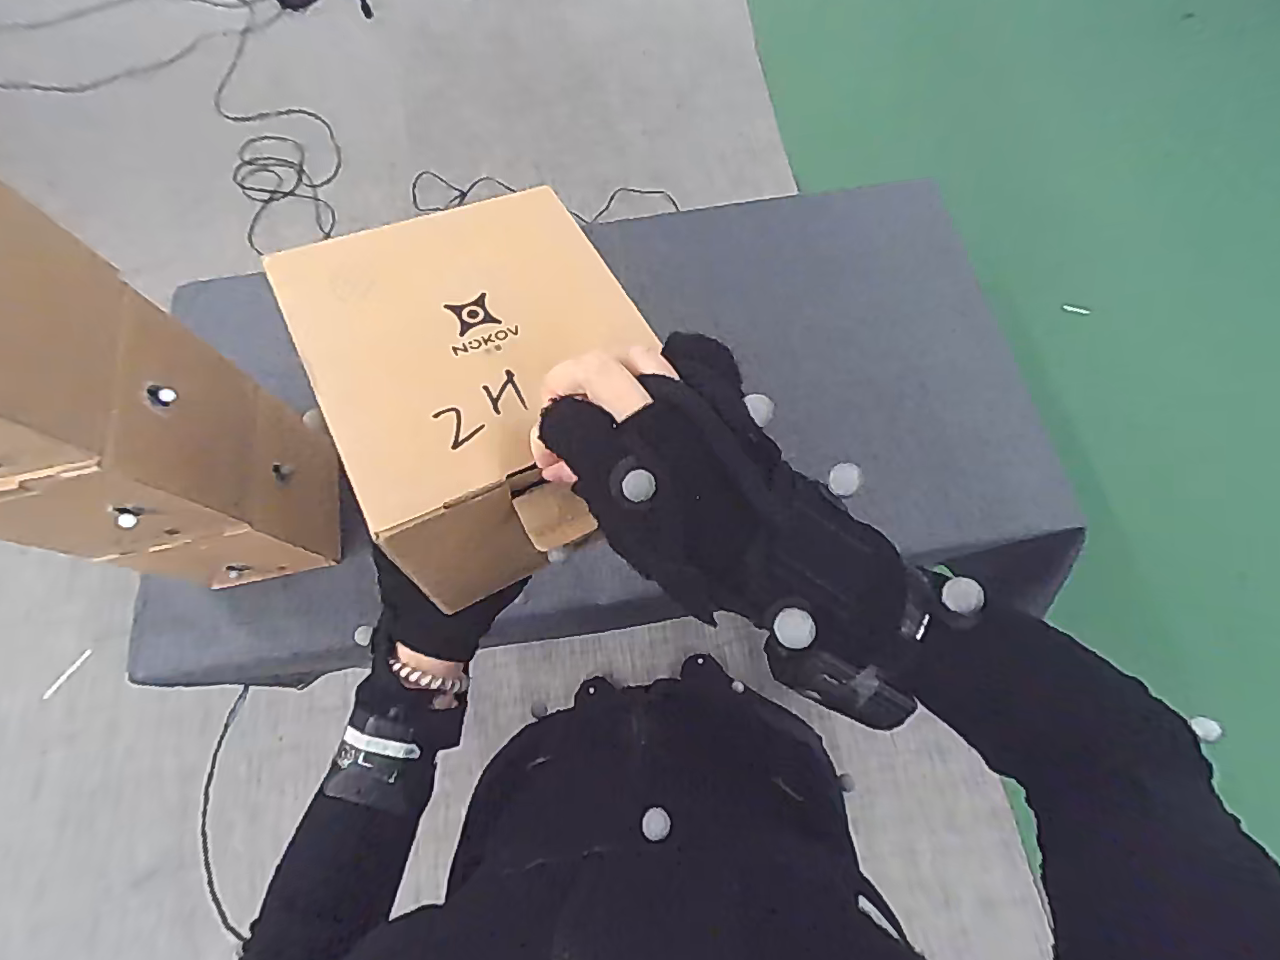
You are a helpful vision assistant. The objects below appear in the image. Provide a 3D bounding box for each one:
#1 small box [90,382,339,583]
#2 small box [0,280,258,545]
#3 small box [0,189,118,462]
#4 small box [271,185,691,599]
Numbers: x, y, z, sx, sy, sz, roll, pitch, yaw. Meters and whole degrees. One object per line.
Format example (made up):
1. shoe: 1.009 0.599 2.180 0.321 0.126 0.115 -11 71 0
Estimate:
1. small box: -0.486 0.011 0.649 0.168 0.176 0.179 -12 70 -3
2. small box: -0.489 -0.047 0.497 0.168 0.176 0.179 -11 70 -3
3. small box: -0.494 -0.110 0.345 0.168 0.176 0.179 -12 70 -4
4. small box: -0.094 -0.047 0.352 0.168 0.176 0.179 -25 72 -18
